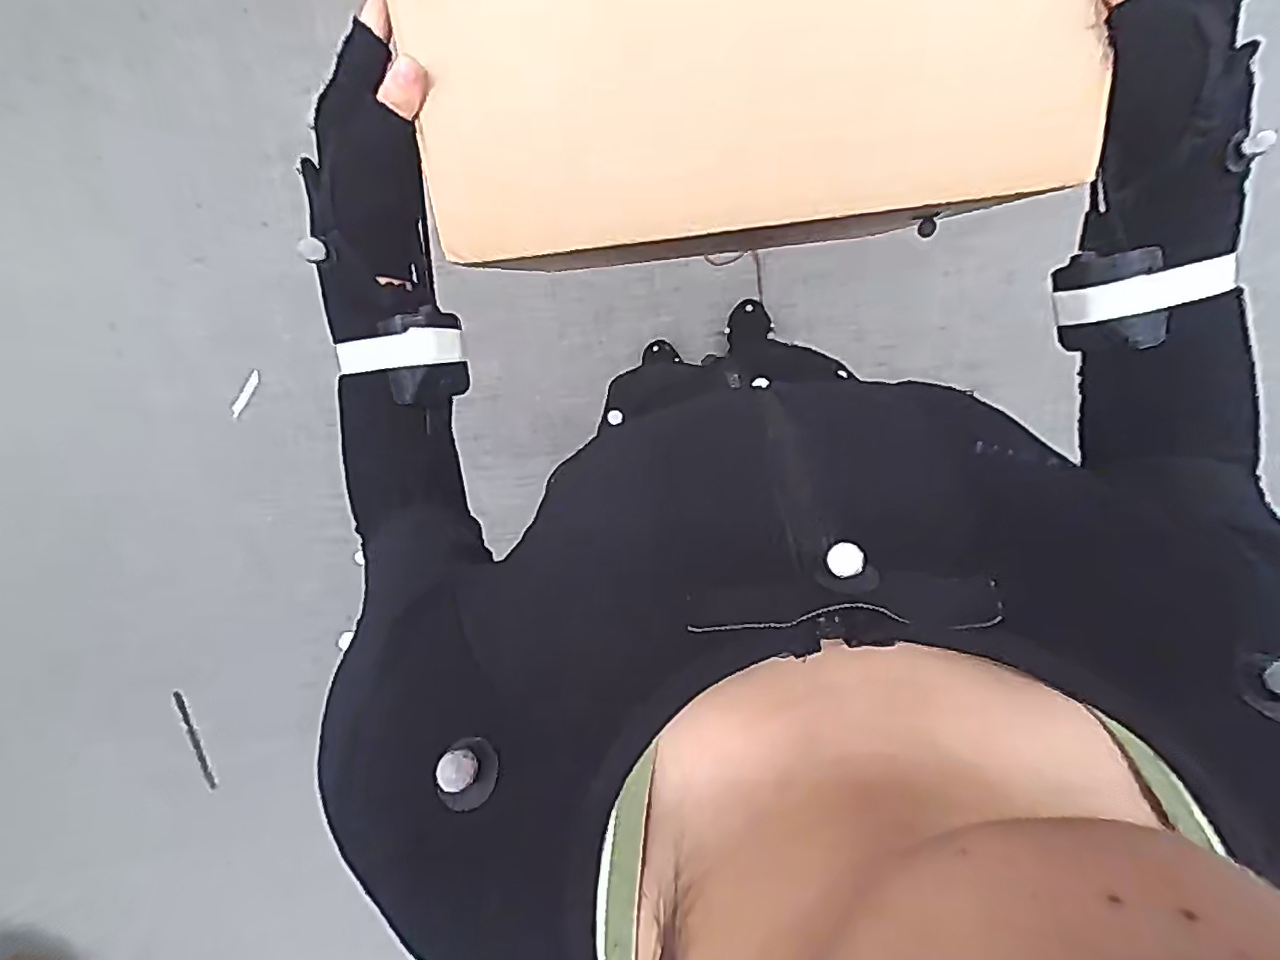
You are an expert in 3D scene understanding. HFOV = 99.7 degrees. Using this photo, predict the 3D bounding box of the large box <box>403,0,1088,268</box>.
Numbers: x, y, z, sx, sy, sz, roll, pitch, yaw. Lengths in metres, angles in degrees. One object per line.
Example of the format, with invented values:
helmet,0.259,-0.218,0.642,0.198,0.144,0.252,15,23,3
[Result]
large box,0.062,-0.363,0.444,0.408,0.320,0.320,-5,109,5
